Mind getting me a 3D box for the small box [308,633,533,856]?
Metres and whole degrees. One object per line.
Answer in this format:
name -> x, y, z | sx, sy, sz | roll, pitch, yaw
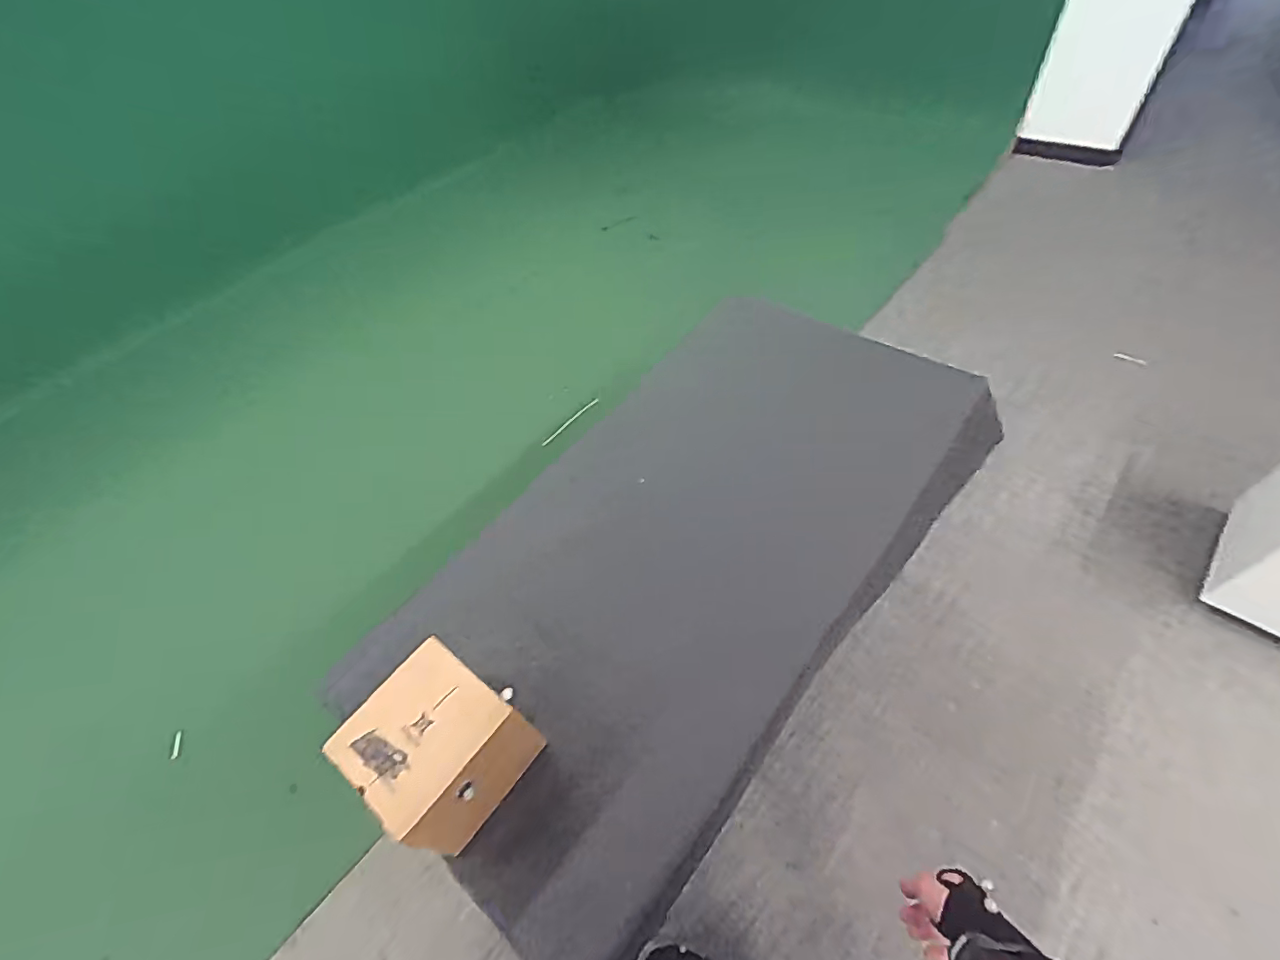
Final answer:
small box -> -0.261, 0.336, 0.684 | 0.168, 0.176, 0.179 | 29, 59, 25
